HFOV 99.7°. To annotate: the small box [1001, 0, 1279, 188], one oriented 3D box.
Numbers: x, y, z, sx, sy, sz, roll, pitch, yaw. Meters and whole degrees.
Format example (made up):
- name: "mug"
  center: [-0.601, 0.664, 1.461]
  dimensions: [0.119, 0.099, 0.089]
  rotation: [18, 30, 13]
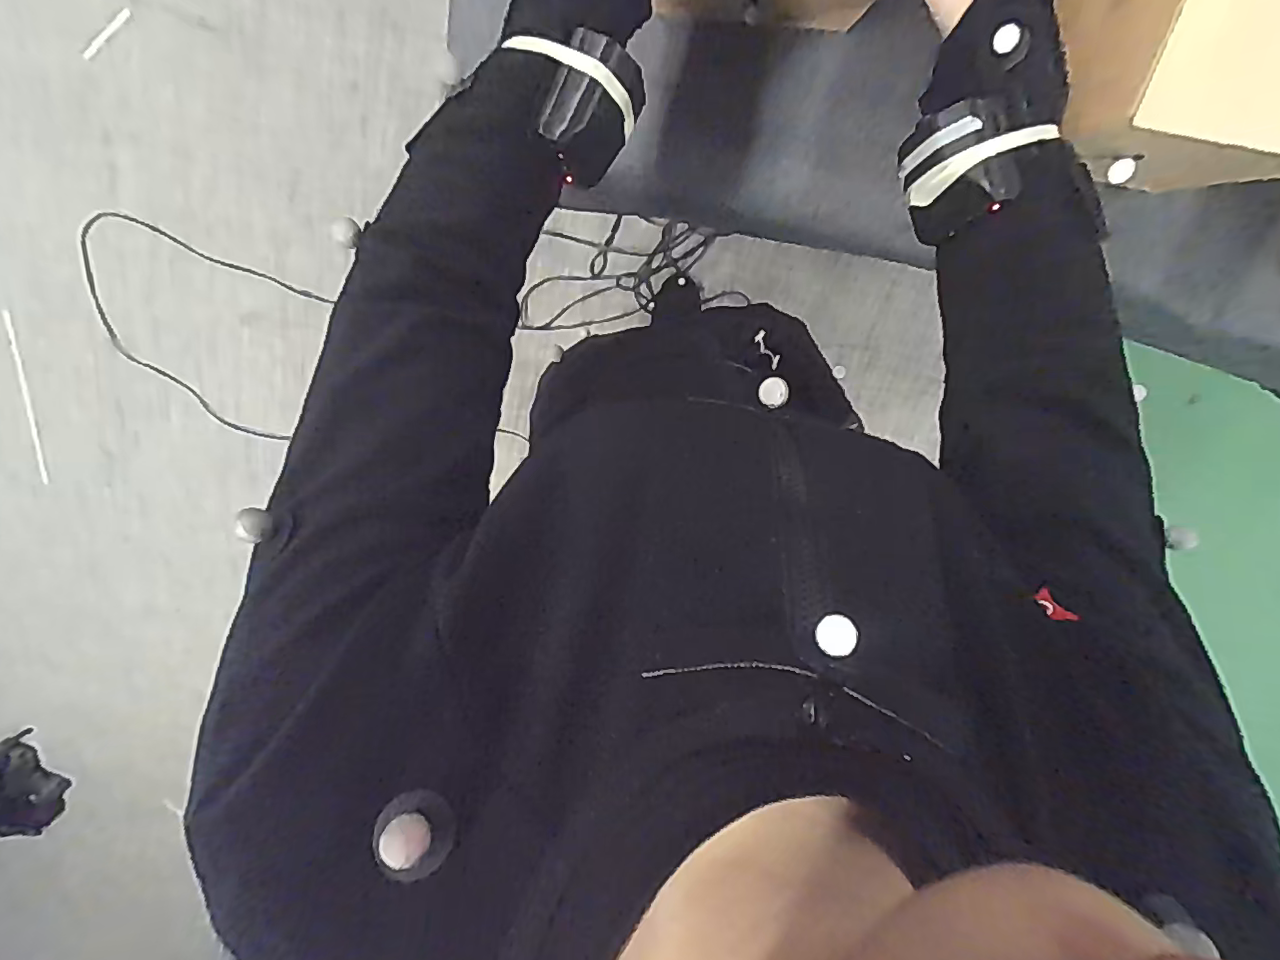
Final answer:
- name: "small box"
  center: [0.404, -0.322, 0.386]
  dimensions: [0.168, 0.176, 0.179]
  rotation: [9, 113, -2]
